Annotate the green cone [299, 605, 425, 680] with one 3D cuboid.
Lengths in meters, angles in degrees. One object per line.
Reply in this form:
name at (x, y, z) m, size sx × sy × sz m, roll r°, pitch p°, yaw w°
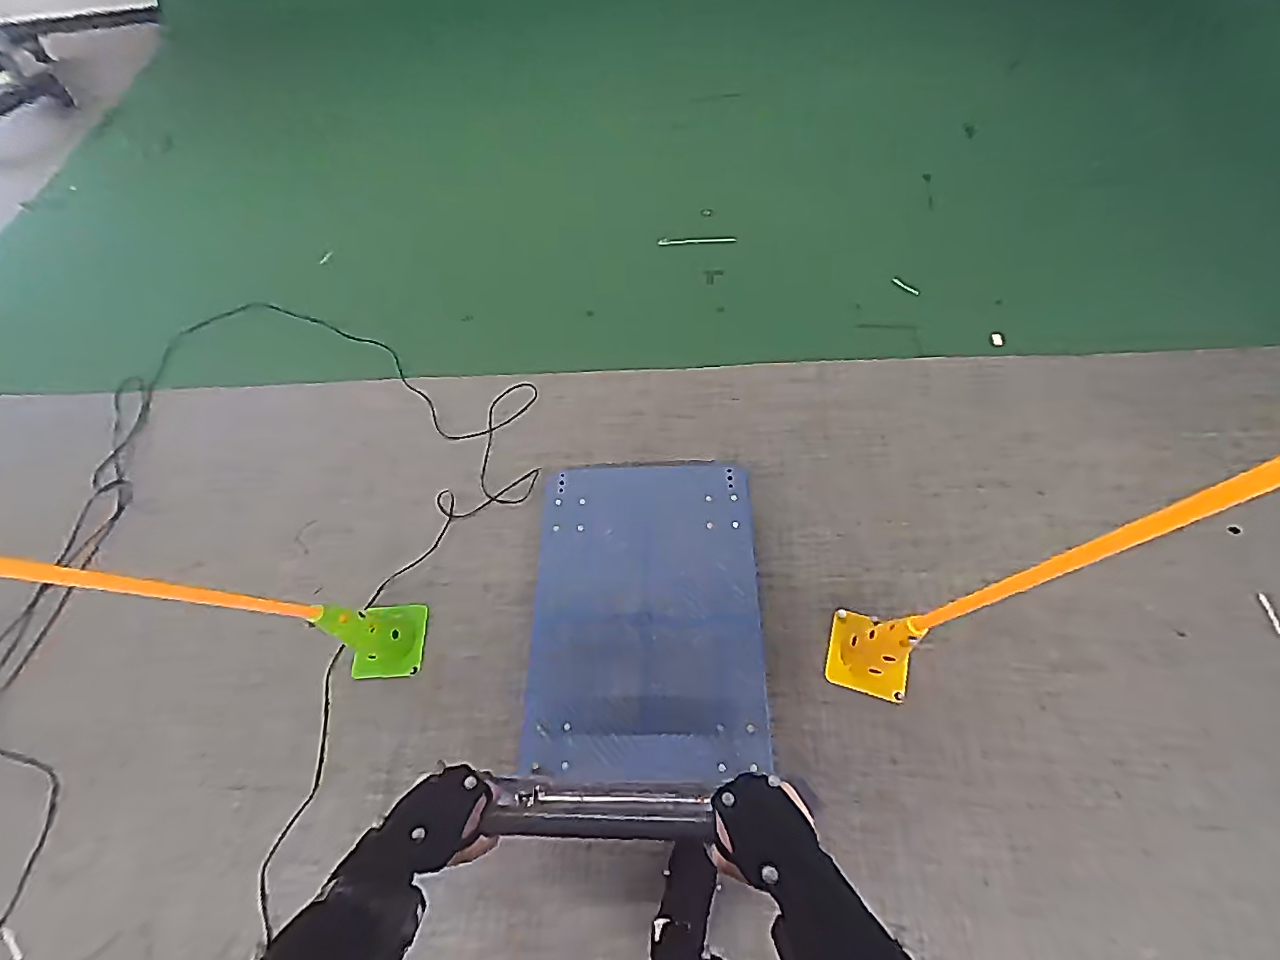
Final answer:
green cone at (-0.742, 0.386, 1.405) m, size 0.202 × 0.368 × 0.200 m, roll -6°, pitch 62°, yaw 5°
